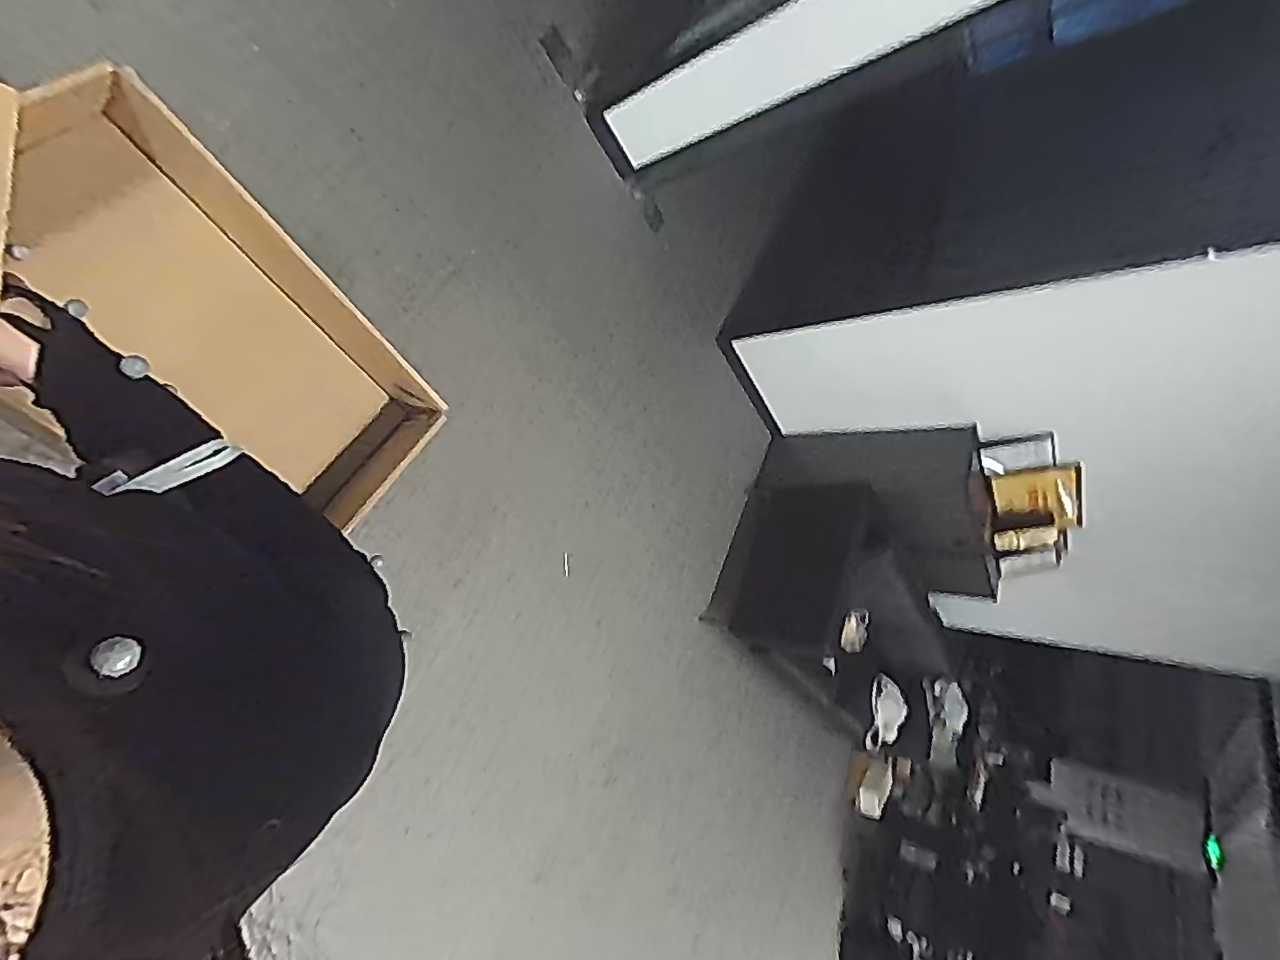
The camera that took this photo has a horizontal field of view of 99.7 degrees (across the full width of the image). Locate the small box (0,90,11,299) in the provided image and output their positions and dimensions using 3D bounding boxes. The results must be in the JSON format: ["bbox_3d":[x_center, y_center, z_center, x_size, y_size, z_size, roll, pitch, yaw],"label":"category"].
[{"bbox_3d":[-0.541,-0.187,0.351,0.168,0.176,0.179,3,94,-51],"label":"small box"}]
